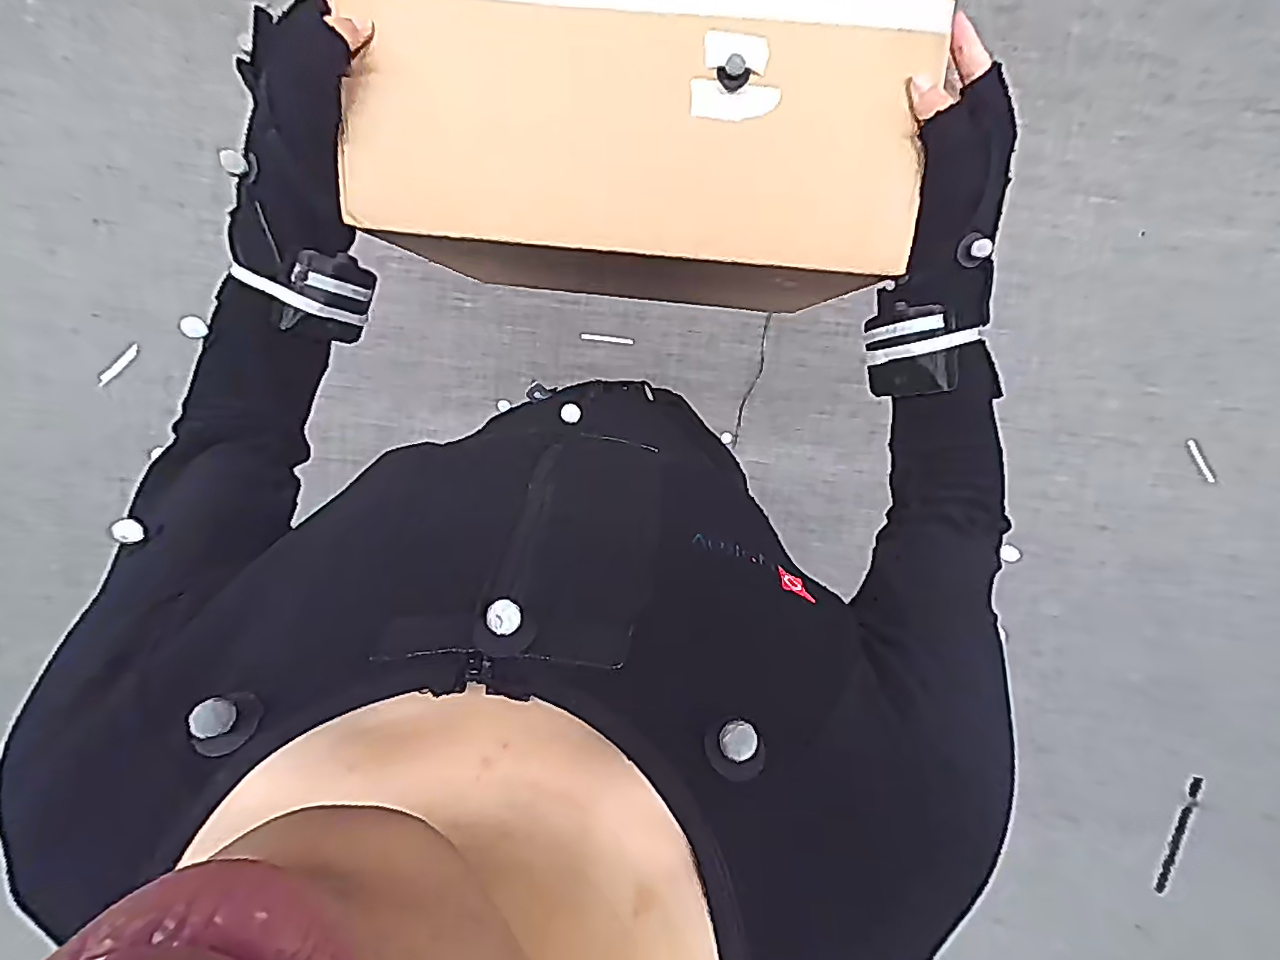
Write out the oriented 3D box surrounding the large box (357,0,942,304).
[{"bbox_3d":[0.007,-0.356,0.513,0.408,0.320,0.320,5,103,0],"label":"large box"}]
